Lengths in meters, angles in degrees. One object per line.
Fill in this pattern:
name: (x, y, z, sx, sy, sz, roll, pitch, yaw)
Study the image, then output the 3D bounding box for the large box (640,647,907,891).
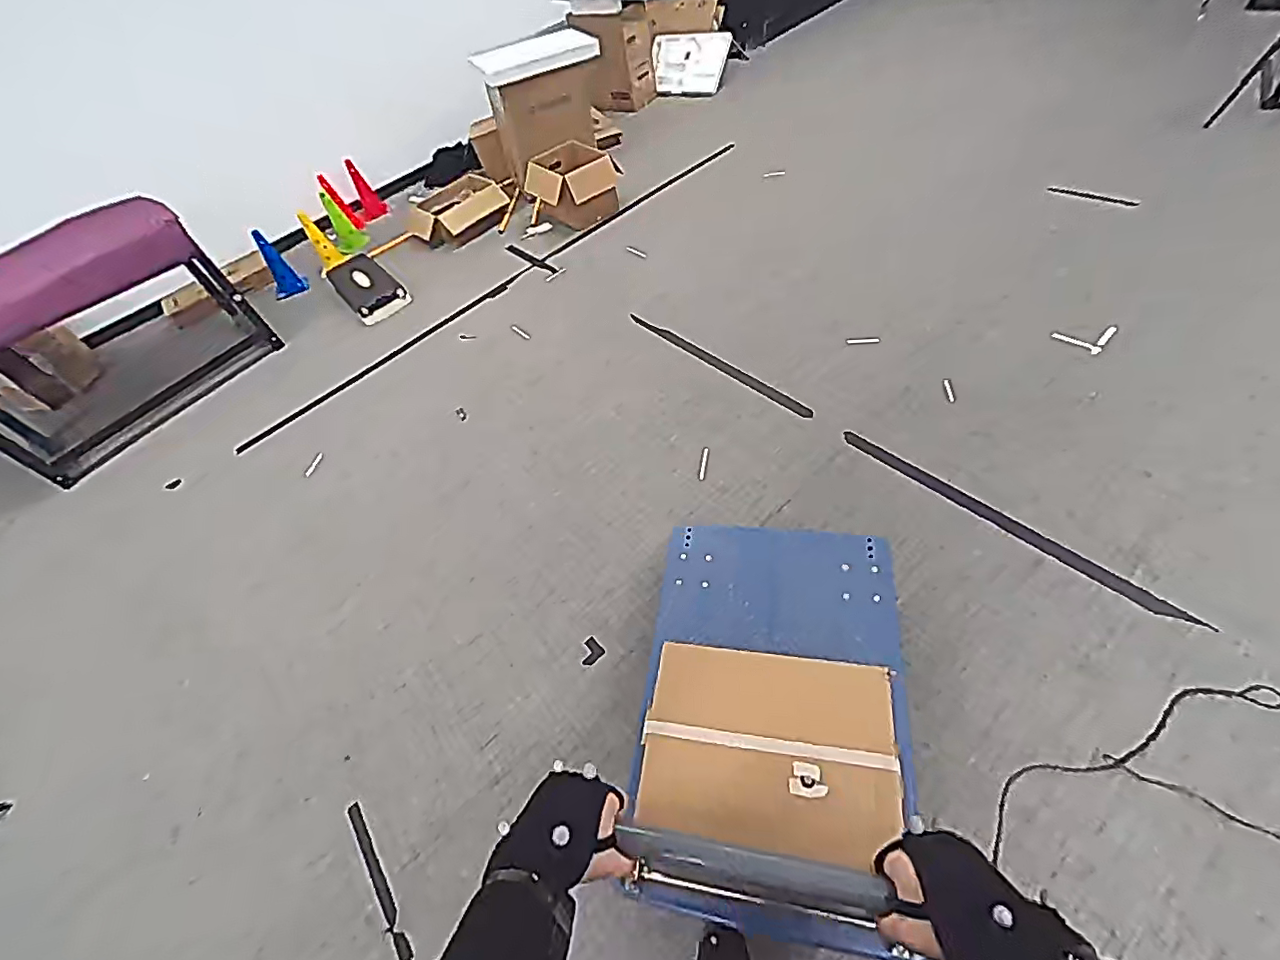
large box: (0.238, 0.539, 1.018, 0.408, 0.320, 0.320, 2, 52, 14)
